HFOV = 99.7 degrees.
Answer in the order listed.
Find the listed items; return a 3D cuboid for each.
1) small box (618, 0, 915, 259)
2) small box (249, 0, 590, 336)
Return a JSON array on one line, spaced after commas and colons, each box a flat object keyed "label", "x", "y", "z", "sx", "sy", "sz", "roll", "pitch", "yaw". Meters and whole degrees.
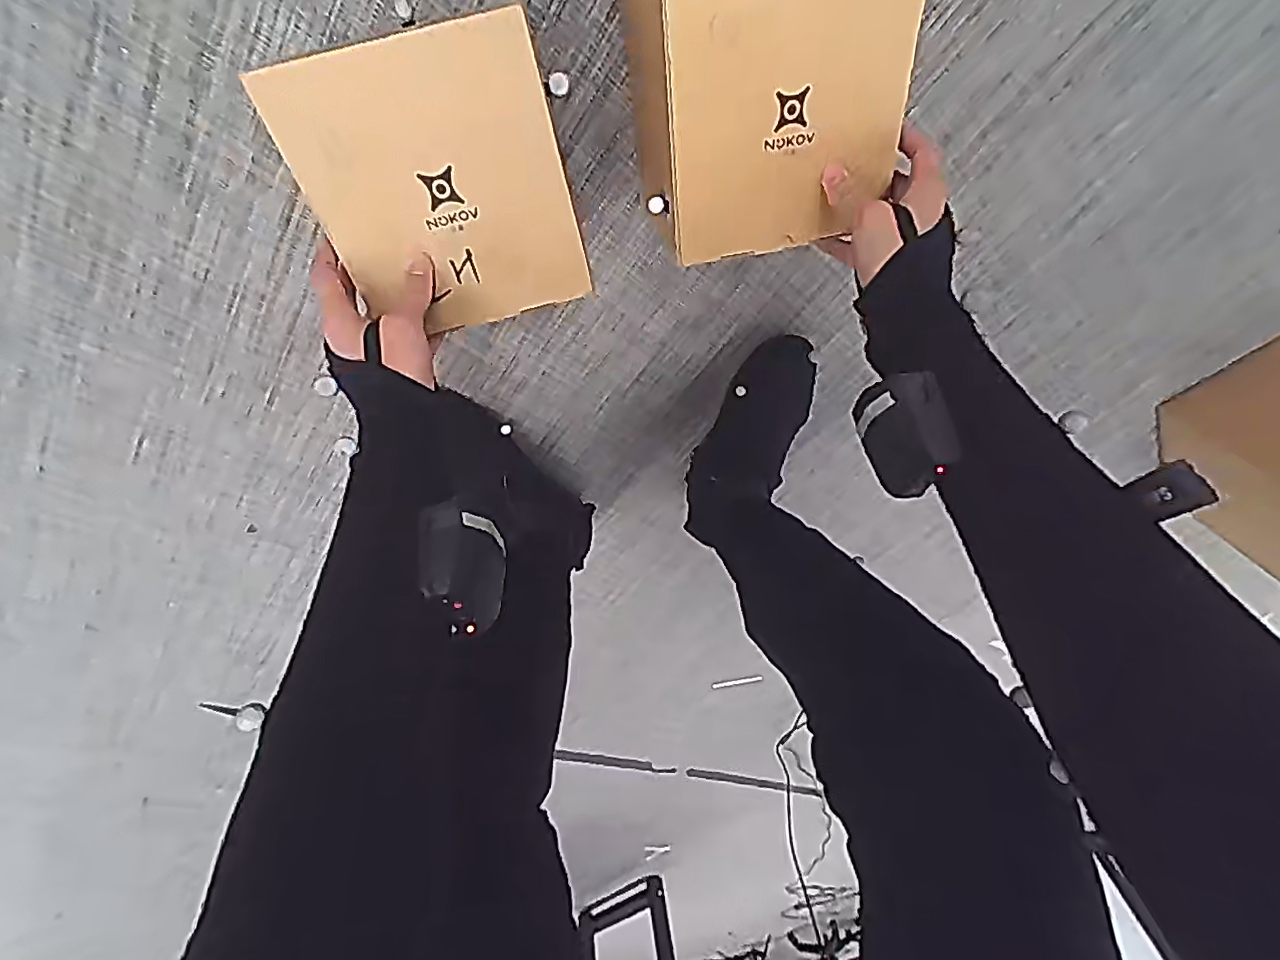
[{"label": "small box", "x": 0.083, "y": -0.302, "z": 0.426, "sx": 0.168, "sy": 0.176, "sz": 0.179, "roll": -12, "pitch": 133, "yaw": -2}, {"label": "small box", "x": -0.145, "y": -0.244, "z": 0.422, "sx": 0.168, "sy": 0.176, "sz": 0.179, "roll": -14, "pitch": 133, "yaw": 0}]
